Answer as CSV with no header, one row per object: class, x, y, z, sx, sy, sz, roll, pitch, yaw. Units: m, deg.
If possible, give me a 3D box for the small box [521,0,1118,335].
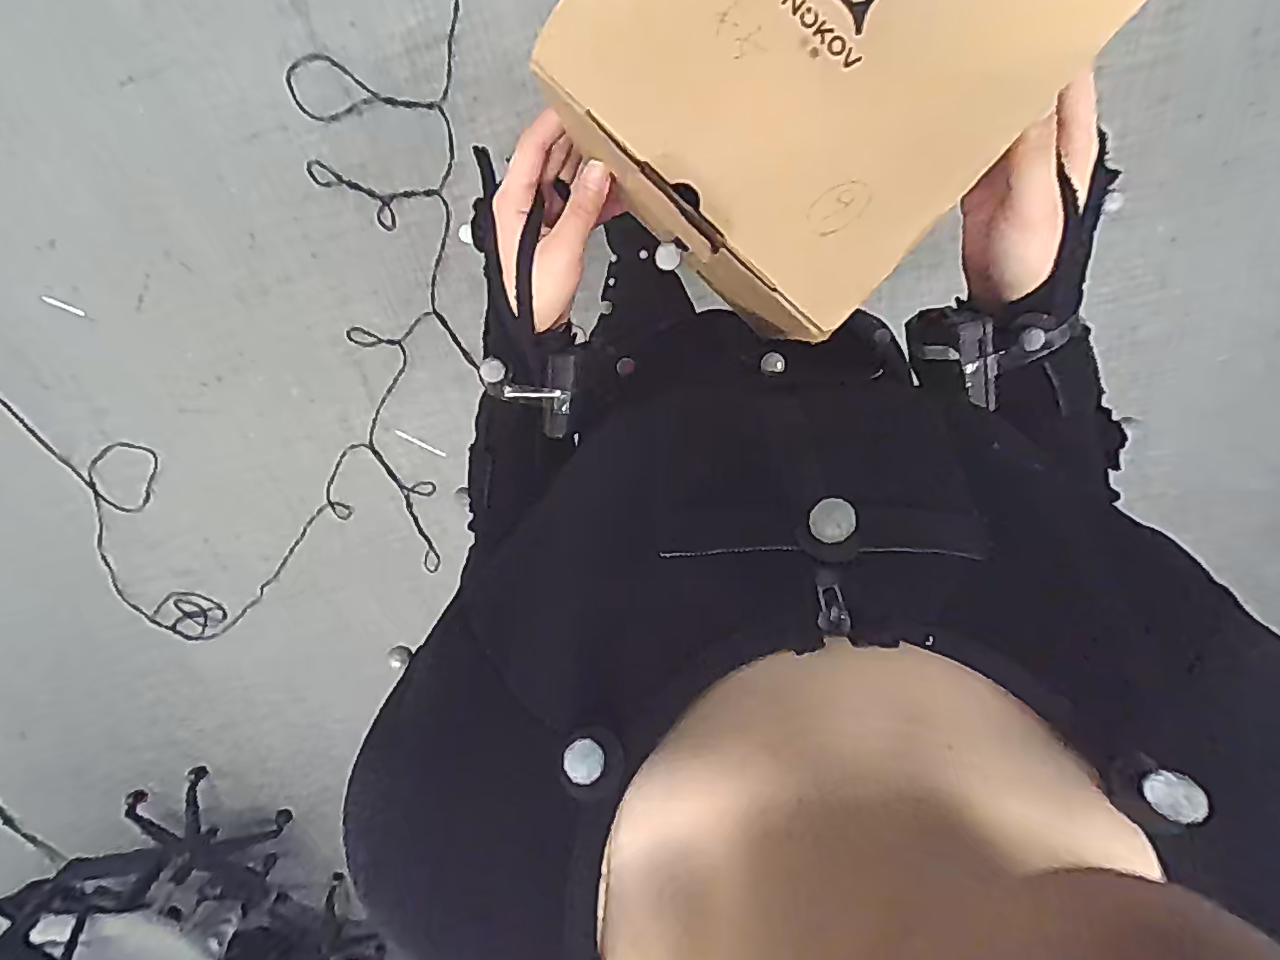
small box,0.073,-0.197,0.285,0.168,0.176,0.179,40,105,-6
